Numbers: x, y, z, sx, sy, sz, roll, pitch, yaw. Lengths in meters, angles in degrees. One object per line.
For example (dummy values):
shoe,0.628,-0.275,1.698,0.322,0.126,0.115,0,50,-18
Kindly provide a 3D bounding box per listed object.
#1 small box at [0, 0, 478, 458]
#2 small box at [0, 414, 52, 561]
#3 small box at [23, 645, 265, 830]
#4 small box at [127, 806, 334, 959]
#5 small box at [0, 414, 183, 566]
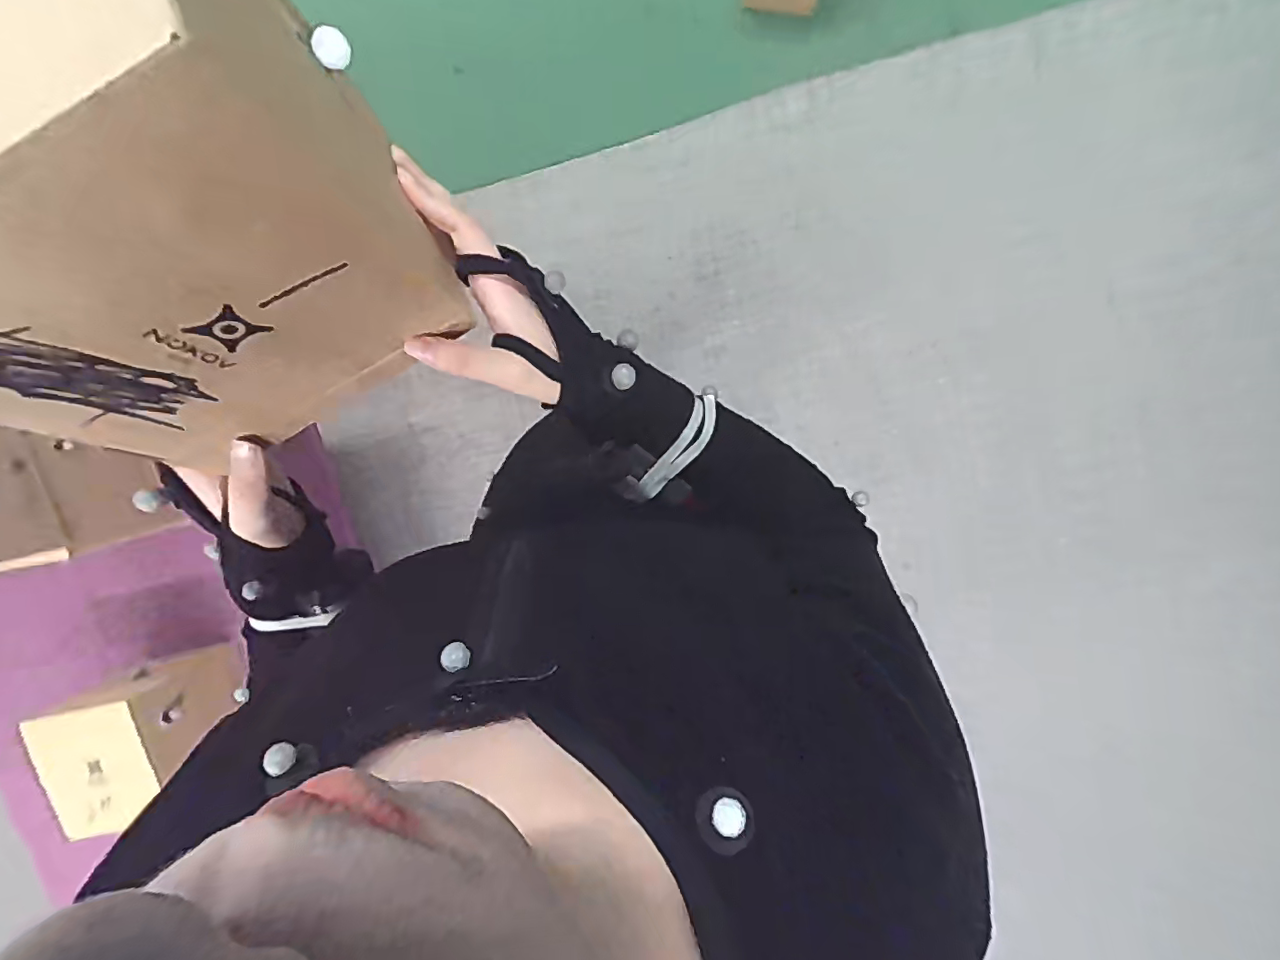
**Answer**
small box,-0.211,-0.137,0.247,0.179,0.168,0.176,-27,76,3
small box,-0.794,0.028,0.571,0.179,0.176,0.168,-13,97,6
small box,-0.698,0.357,0.783,0.168,0.176,0.179,-13,98,8
small box,-0.604,0.639,0.823,0.168,0.176,0.179,-9,98,6
small box,-0.779,0.004,0.733,0.168,0.176,0.179,-9,98,6
